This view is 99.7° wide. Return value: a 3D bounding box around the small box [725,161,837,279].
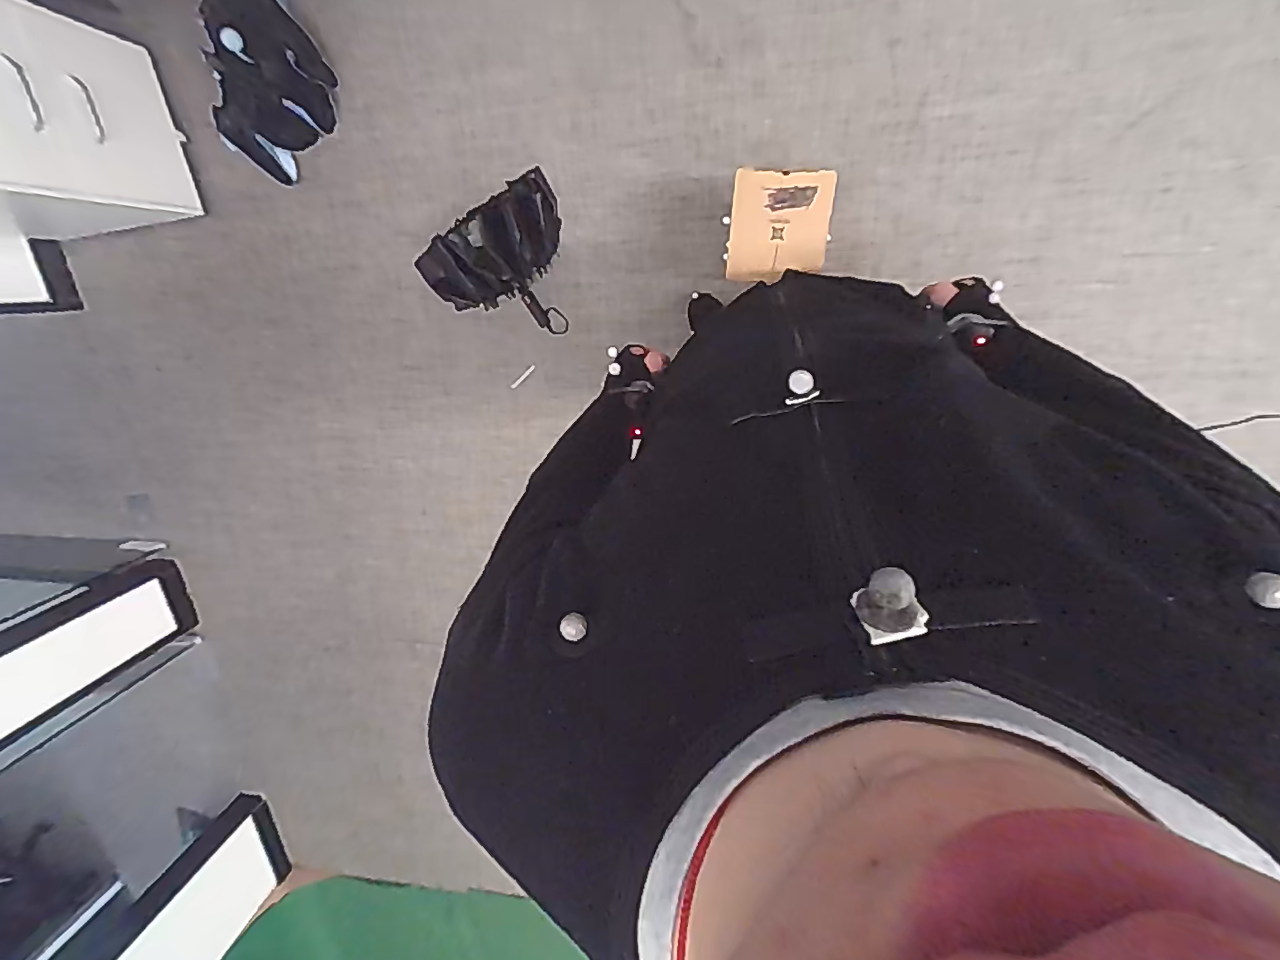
[{"bbox_3d":[0.246,-0.466,0.988,0.168,0.176,0.179,6,112,7],"label":"small box"}]
